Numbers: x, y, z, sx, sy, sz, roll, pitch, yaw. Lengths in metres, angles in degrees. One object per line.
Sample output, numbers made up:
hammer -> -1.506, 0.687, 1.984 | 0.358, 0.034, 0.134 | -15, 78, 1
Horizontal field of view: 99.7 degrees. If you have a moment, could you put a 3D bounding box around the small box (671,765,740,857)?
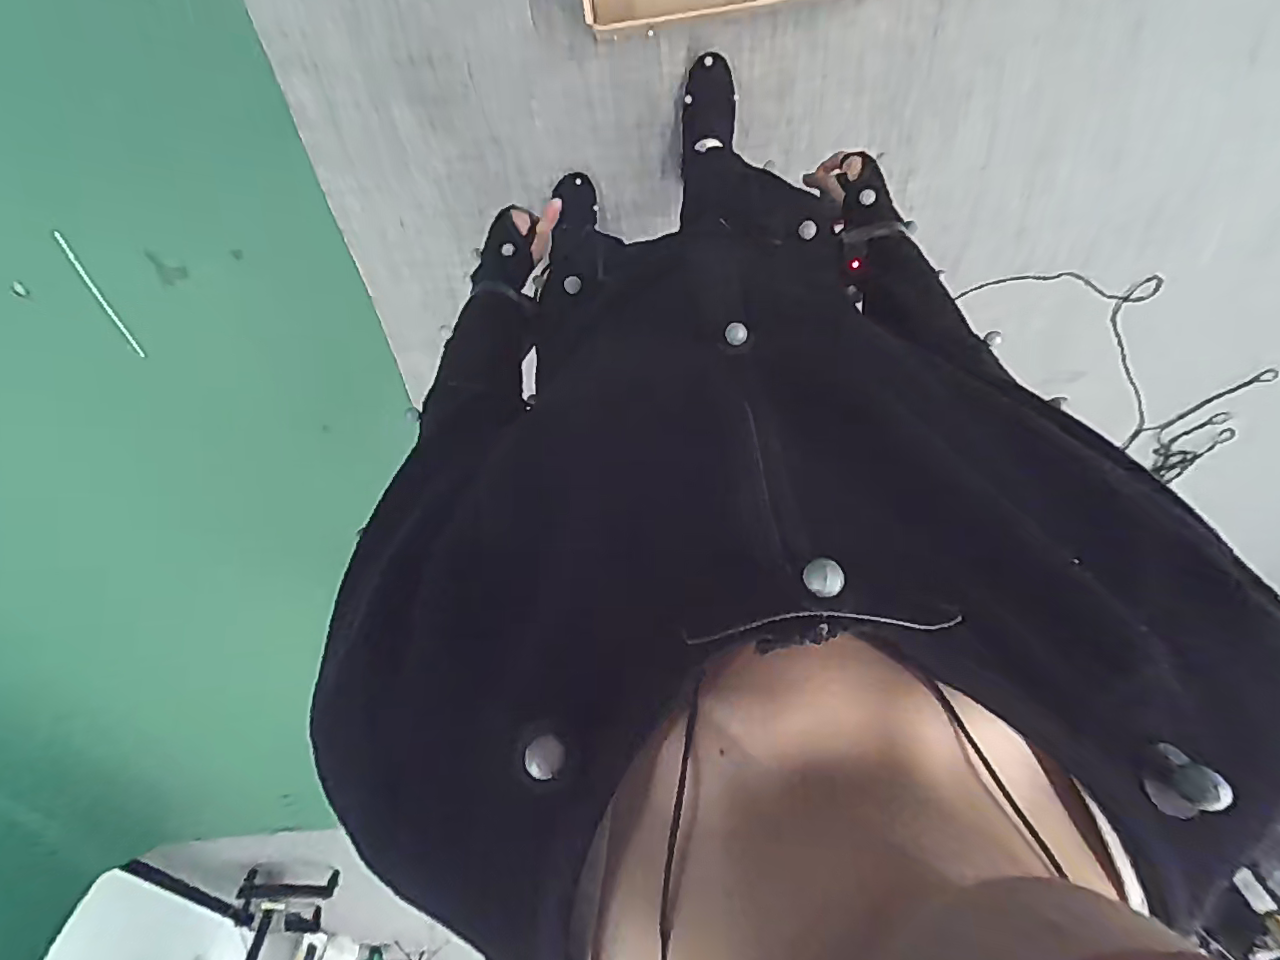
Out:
small box -> 0.173, 0.886, 1.456 | 0.168, 0.176, 0.179 | -5, 130, 3

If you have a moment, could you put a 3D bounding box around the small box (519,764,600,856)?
small box -> -0.207, 0.884, 1.445 | 0.179, 0.176, 0.168 | -7, 127, 2
